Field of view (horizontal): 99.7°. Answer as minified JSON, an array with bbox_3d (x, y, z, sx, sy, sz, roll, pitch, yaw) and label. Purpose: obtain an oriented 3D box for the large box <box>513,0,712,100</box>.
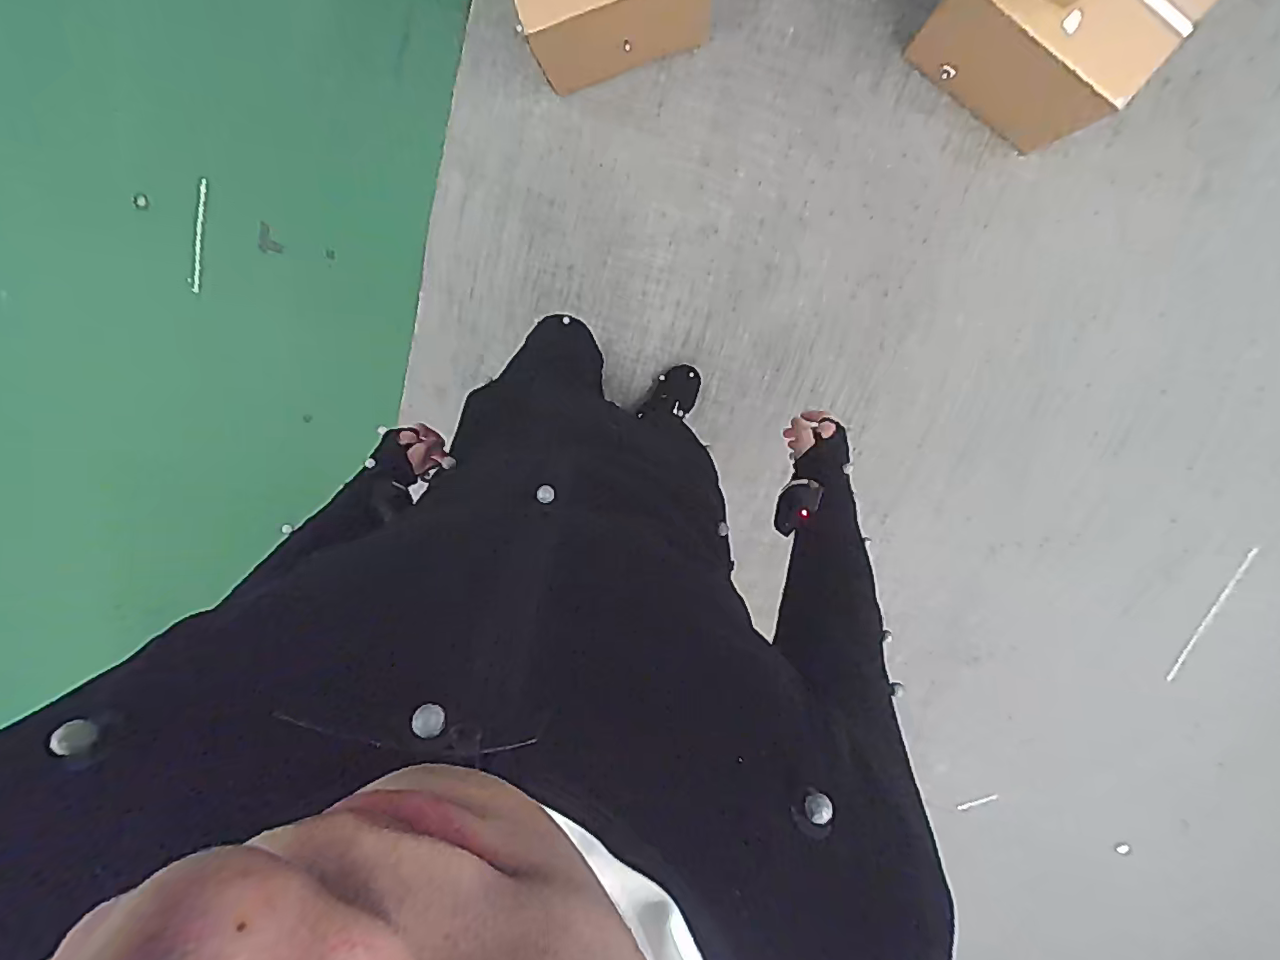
[{"bbox_3d":[-0.073,-1.125,1.187,0.408,0.320,0.320,-14,102,9],"label":"large box"}]
